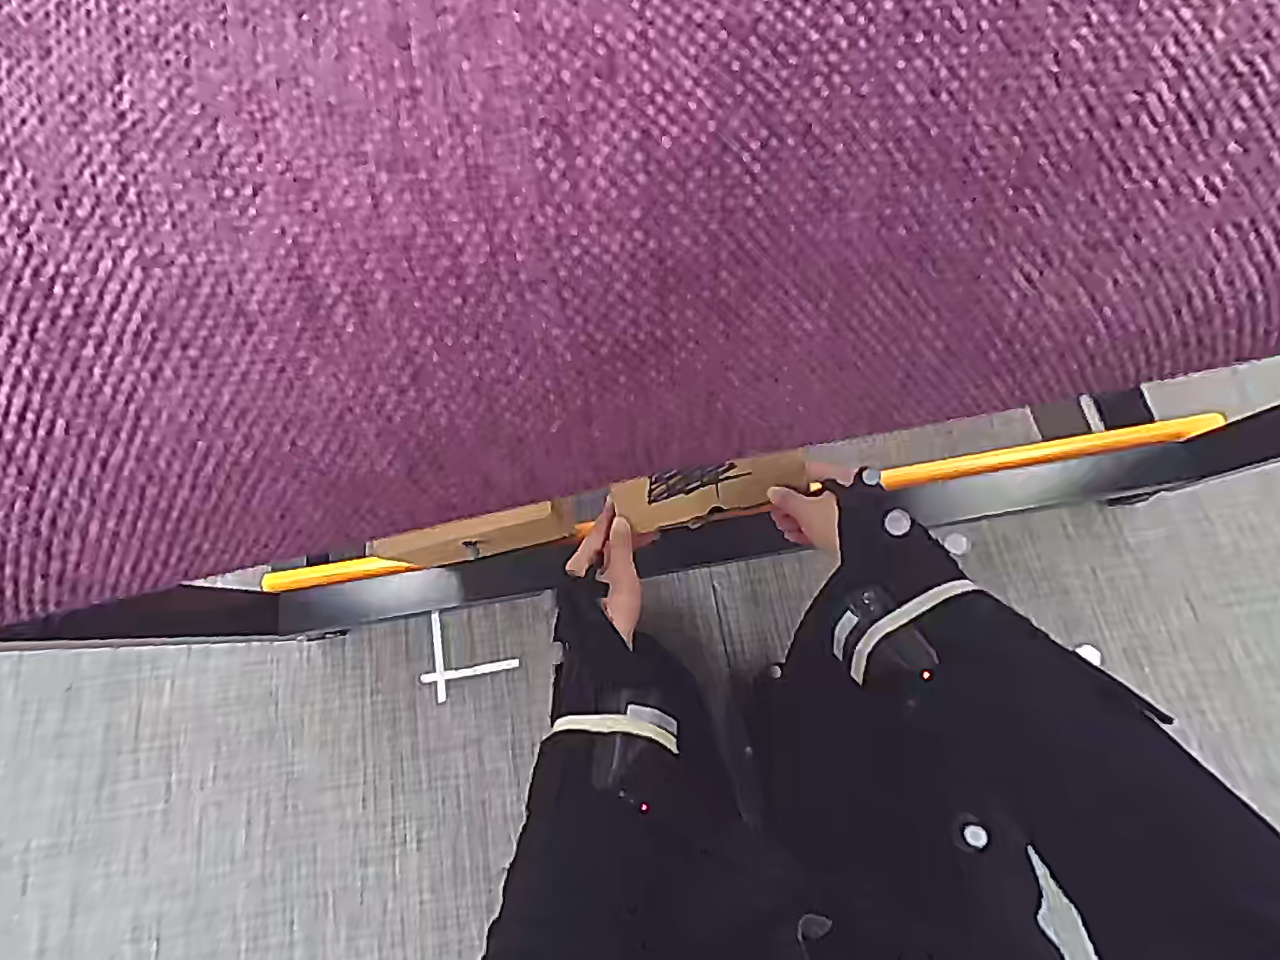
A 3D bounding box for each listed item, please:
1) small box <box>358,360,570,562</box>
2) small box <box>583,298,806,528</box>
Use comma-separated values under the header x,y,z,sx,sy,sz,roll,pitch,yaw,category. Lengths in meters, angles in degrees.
x,y,z,sx,sy,sz,roll,pitch,yaw,category
-0.181,-0.010,0.609,0.179,0.176,0.168,-14,77,-2,small box
0.045,-0.052,0.541,0.168,0.176,0.179,-12,84,-2,small box
